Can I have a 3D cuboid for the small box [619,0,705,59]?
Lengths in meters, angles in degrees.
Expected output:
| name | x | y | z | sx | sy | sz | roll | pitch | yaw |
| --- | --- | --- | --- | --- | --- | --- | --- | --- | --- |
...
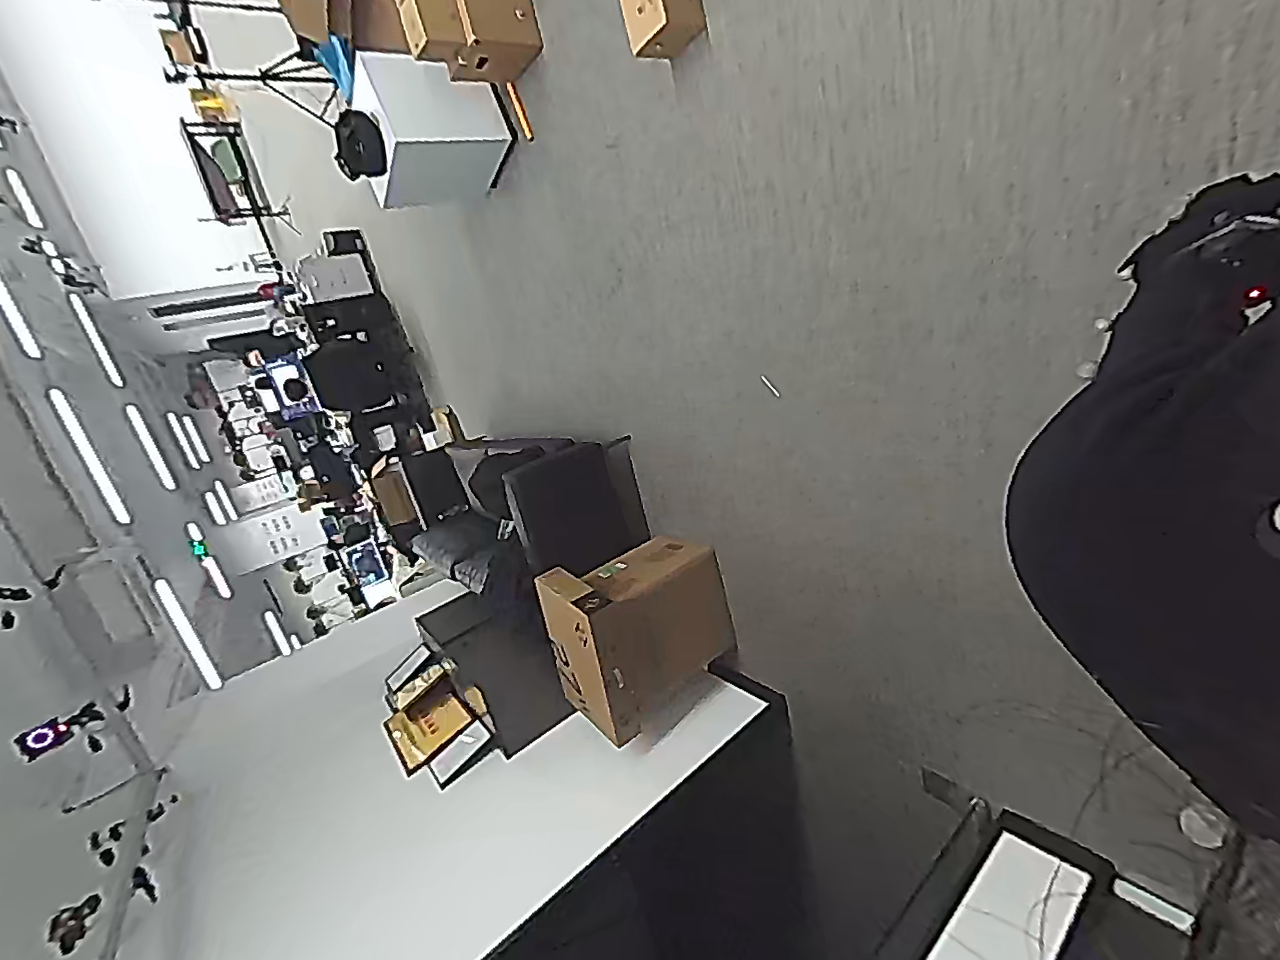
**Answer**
| name | x | y | z | sx | sy | sz | roll | pitch | yaw |
| --- | --- | --- | --- | --- | --- | --- | --- | --- | --- |
| small box | 0.068 | -1.419 | 1.644 | 0.179 | 0.176 | 0.168 | 5 | 116 | 54 |
